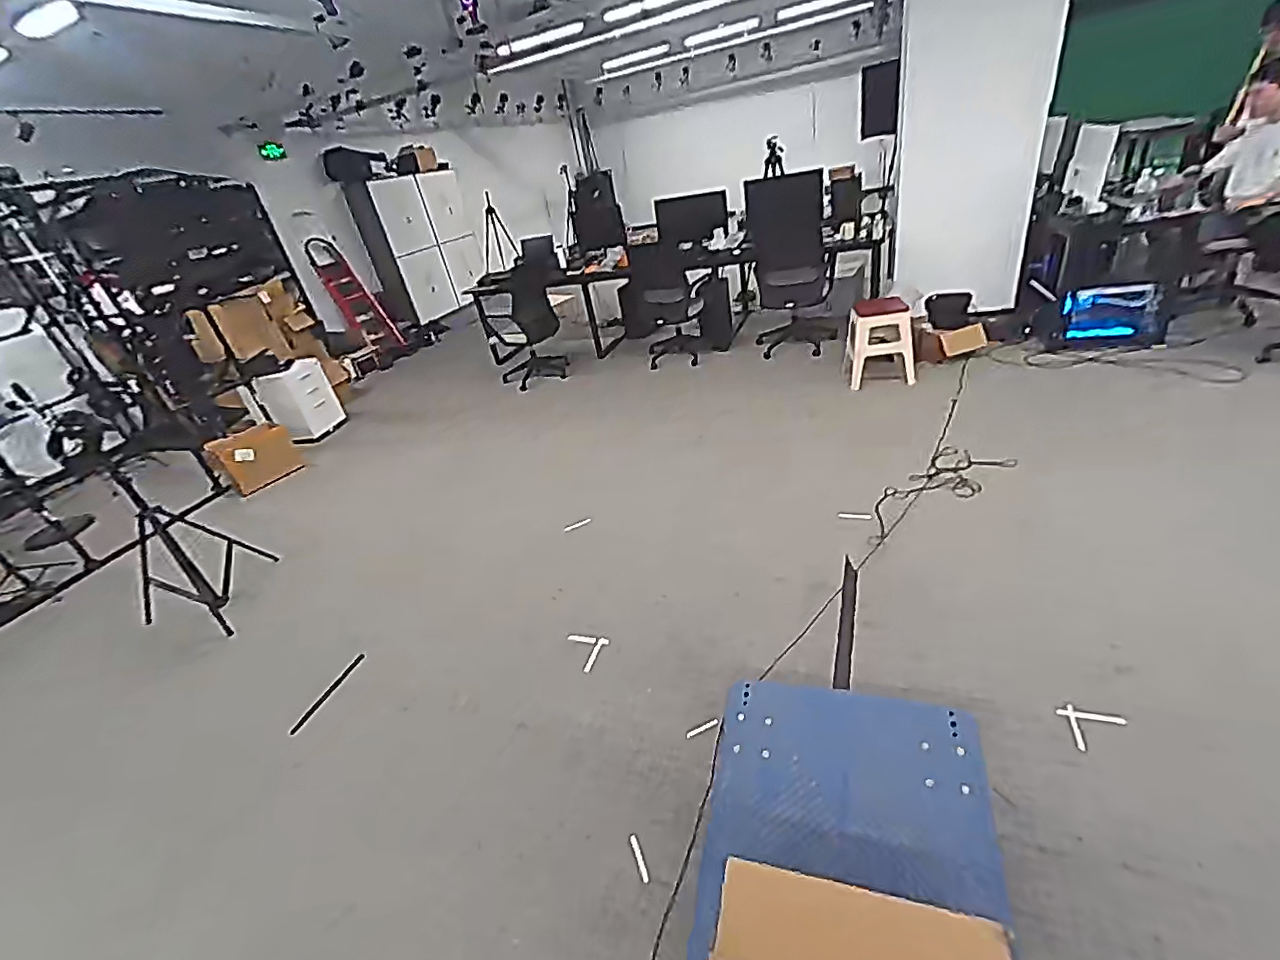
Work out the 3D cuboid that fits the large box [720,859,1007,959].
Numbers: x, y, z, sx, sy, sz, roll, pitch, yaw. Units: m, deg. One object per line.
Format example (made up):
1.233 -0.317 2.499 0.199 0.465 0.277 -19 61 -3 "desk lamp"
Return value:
0.335 0.855 0.847 0.408 0.320 0.320 1 43 19 "large box"
